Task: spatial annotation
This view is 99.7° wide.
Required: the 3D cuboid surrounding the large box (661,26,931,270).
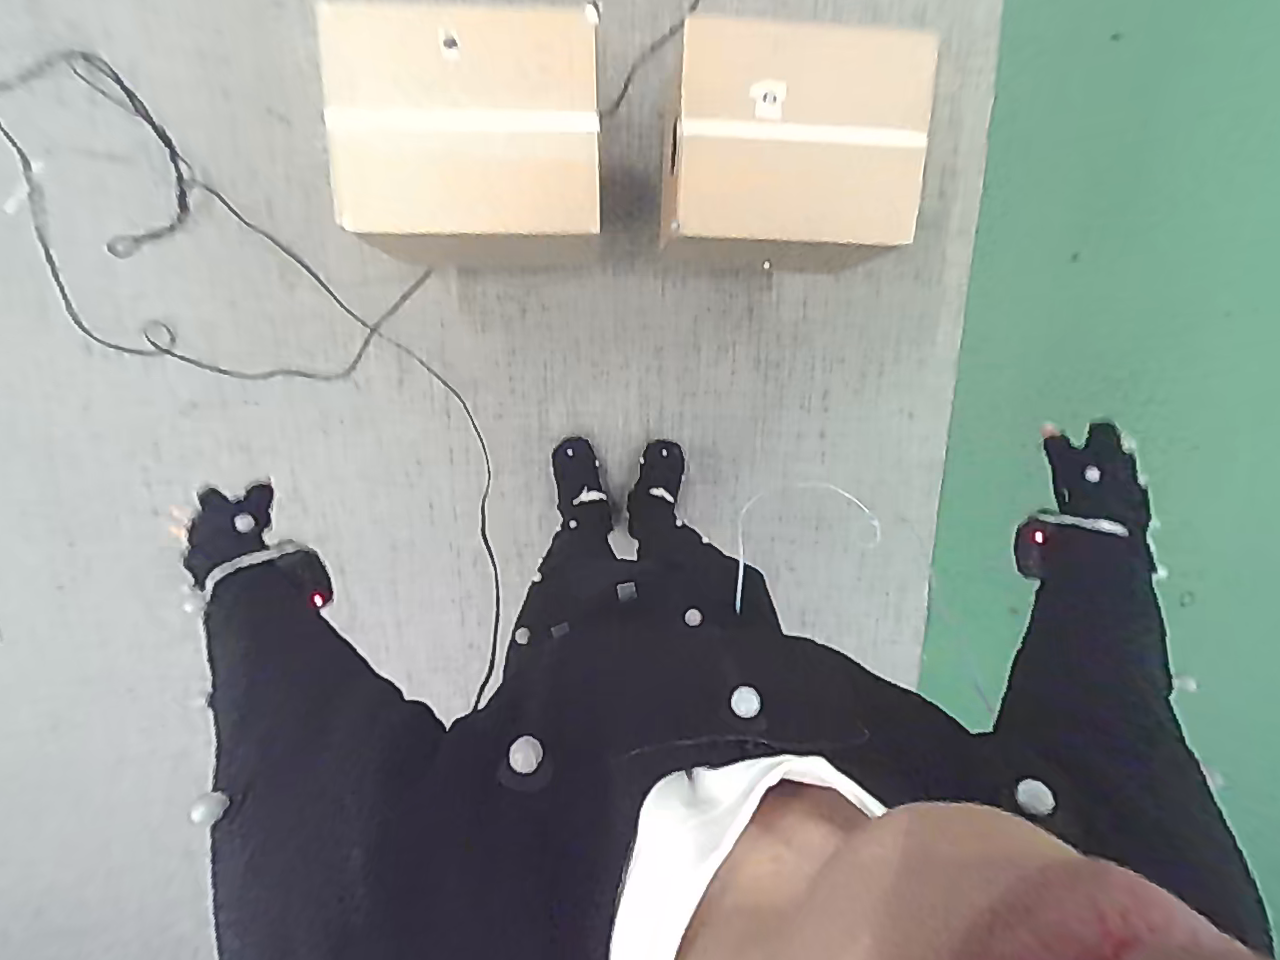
[{"bbox_3d":[0.258,-0.587,1.026,0.408,0.320,0.320,1,102,-4],"label":"large box"}]
